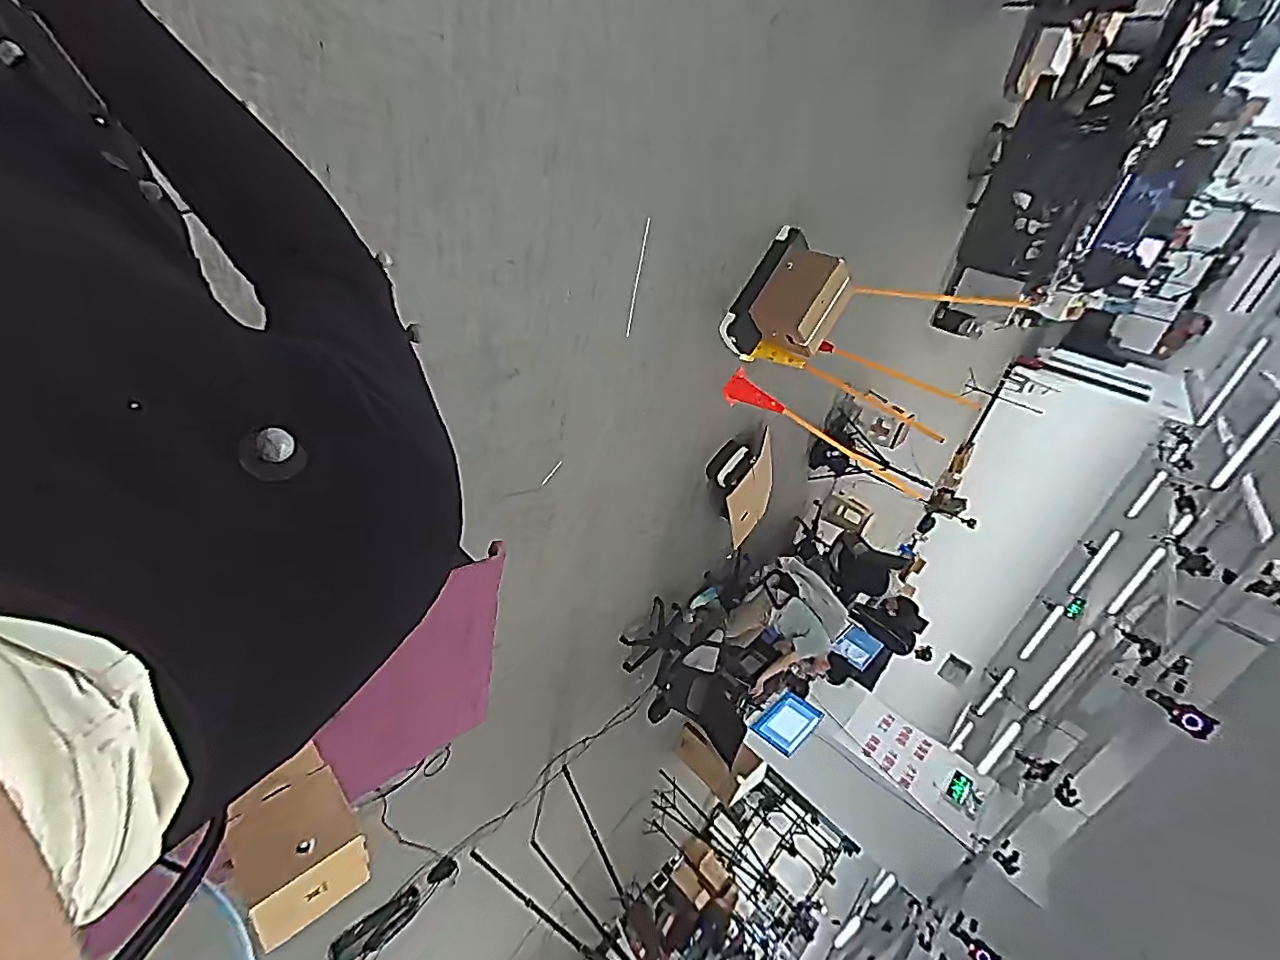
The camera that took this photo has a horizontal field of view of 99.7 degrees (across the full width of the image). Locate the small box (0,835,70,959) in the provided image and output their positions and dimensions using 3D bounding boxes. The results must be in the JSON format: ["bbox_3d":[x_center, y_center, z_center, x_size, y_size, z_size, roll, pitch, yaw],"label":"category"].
[{"bbox_3d":[-0.994,0.685,0.798,0.179,0.176,0.168,-20,133,-44],"label":"small box"}]

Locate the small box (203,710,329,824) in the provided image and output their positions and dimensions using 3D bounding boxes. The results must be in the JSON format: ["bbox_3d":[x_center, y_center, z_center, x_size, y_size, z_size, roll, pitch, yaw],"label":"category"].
[{"bbox_3d":[-0.730,0.591,1.071,0.168,0.176,0.179,-21,134,-43],"label":"small box"}]

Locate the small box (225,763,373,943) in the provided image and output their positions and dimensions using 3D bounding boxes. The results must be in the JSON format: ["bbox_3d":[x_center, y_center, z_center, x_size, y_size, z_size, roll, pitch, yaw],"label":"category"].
[{"bbox_3d":[-0.614,0.664,0.983,0.179,0.176,0.168,-20,132,-43],"label":"small box"}]
